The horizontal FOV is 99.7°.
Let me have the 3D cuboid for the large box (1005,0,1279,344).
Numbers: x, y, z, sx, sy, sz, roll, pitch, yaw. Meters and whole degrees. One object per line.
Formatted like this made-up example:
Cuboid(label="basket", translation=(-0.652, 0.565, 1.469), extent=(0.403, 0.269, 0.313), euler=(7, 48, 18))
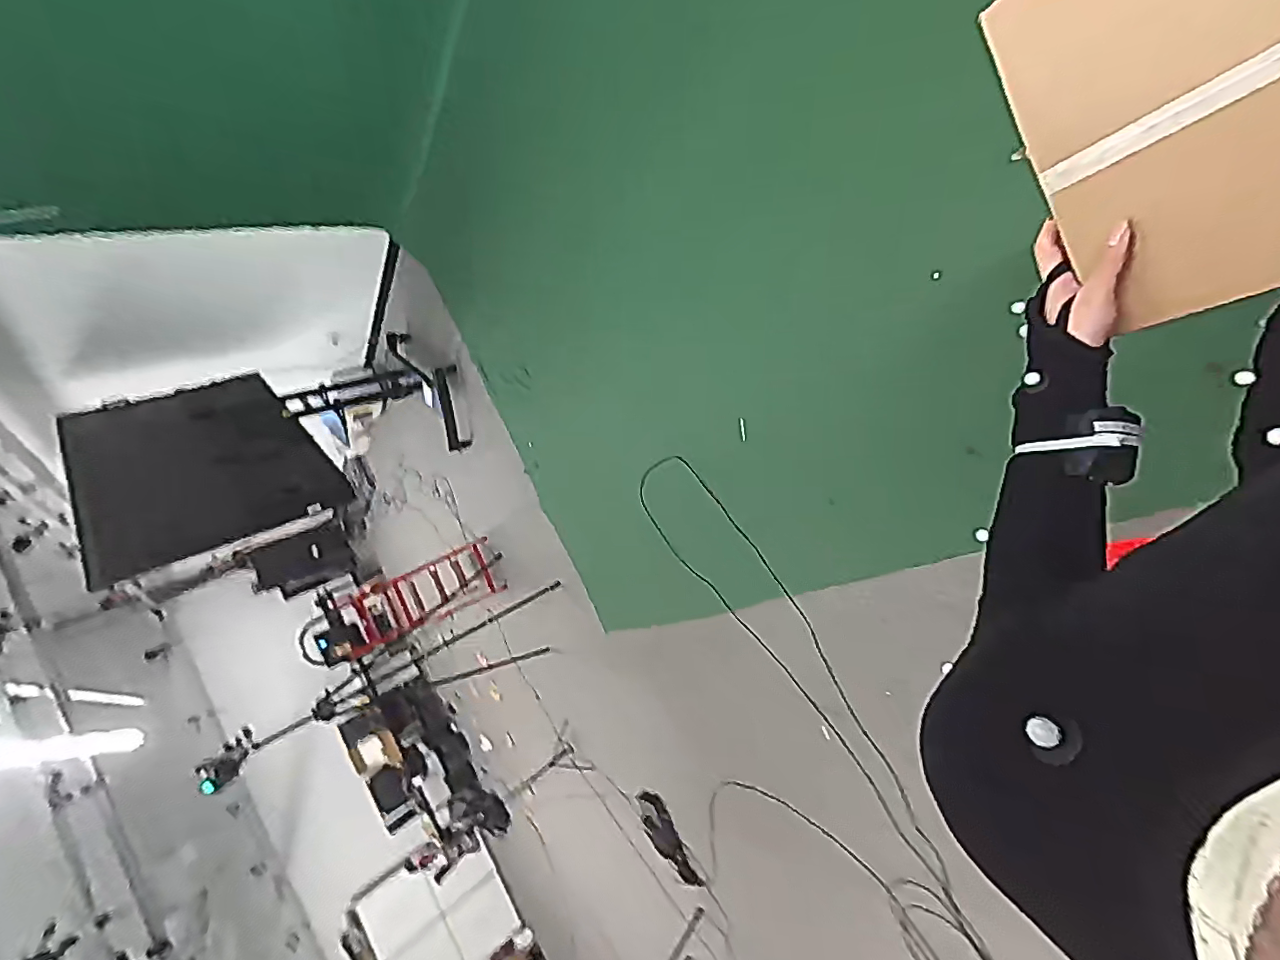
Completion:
Cuboid(label="large box", translation=(0.602, -0.356, 0.420), extent=(0.408, 0.320, 0.320), euler=(-17, 101, 55))
